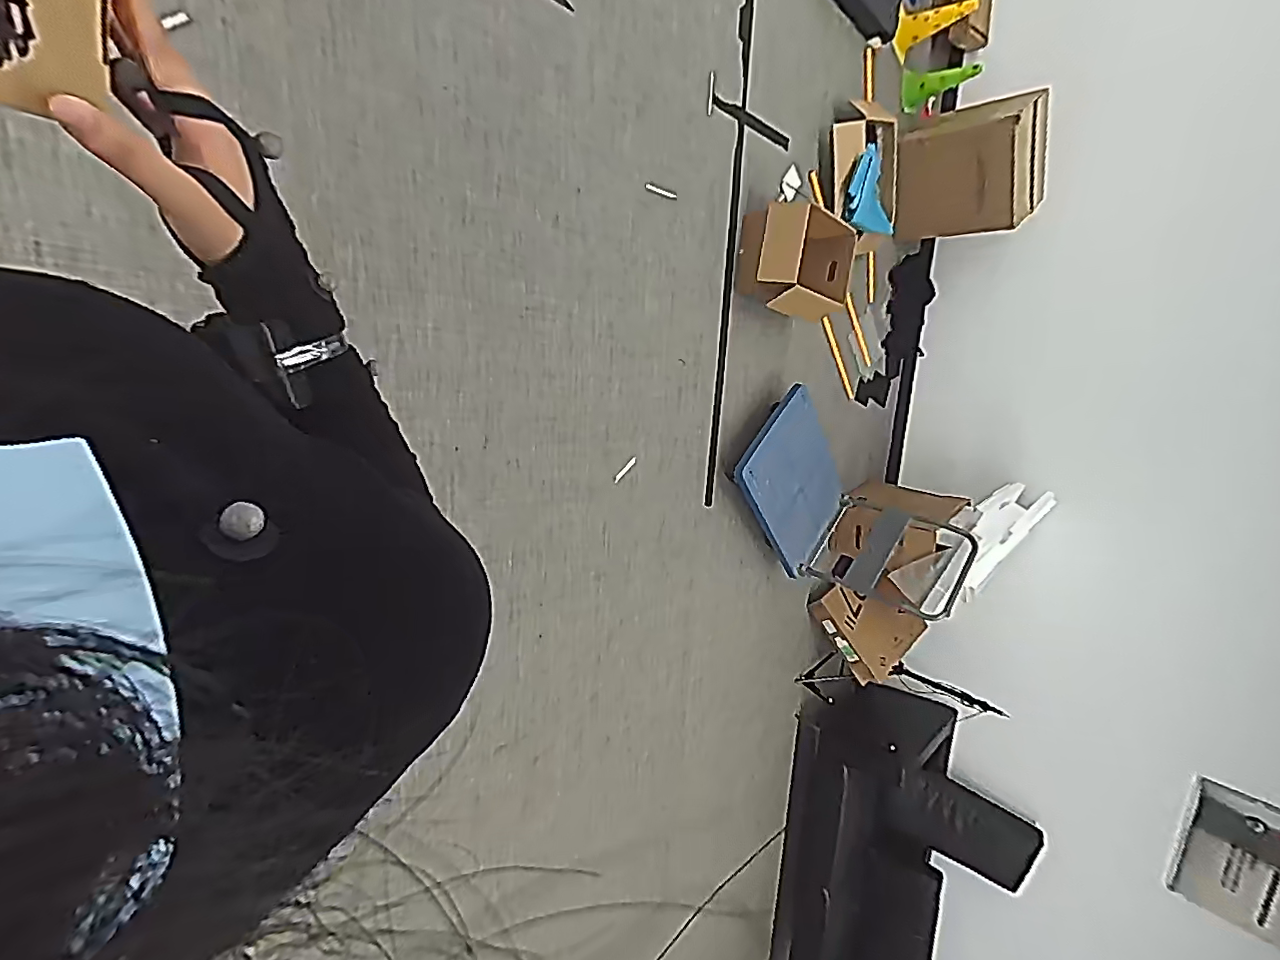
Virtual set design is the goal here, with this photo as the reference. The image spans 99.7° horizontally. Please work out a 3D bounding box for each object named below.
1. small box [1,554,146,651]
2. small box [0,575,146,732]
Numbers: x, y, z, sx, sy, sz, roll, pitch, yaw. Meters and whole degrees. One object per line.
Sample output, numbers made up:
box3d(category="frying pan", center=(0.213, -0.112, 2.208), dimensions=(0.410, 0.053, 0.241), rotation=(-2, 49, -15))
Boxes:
box3d(category="small box", center=(-1.088, 0.254, 1.048), dimensions=(0.168, 0.176, 0.179), rotation=(-12, 110, -41))
box3d(category="small box", center=(-0.976, 0.286, 0.934), dimensions=(0.168, 0.176, 0.179), rotation=(-11, 108, -42))
